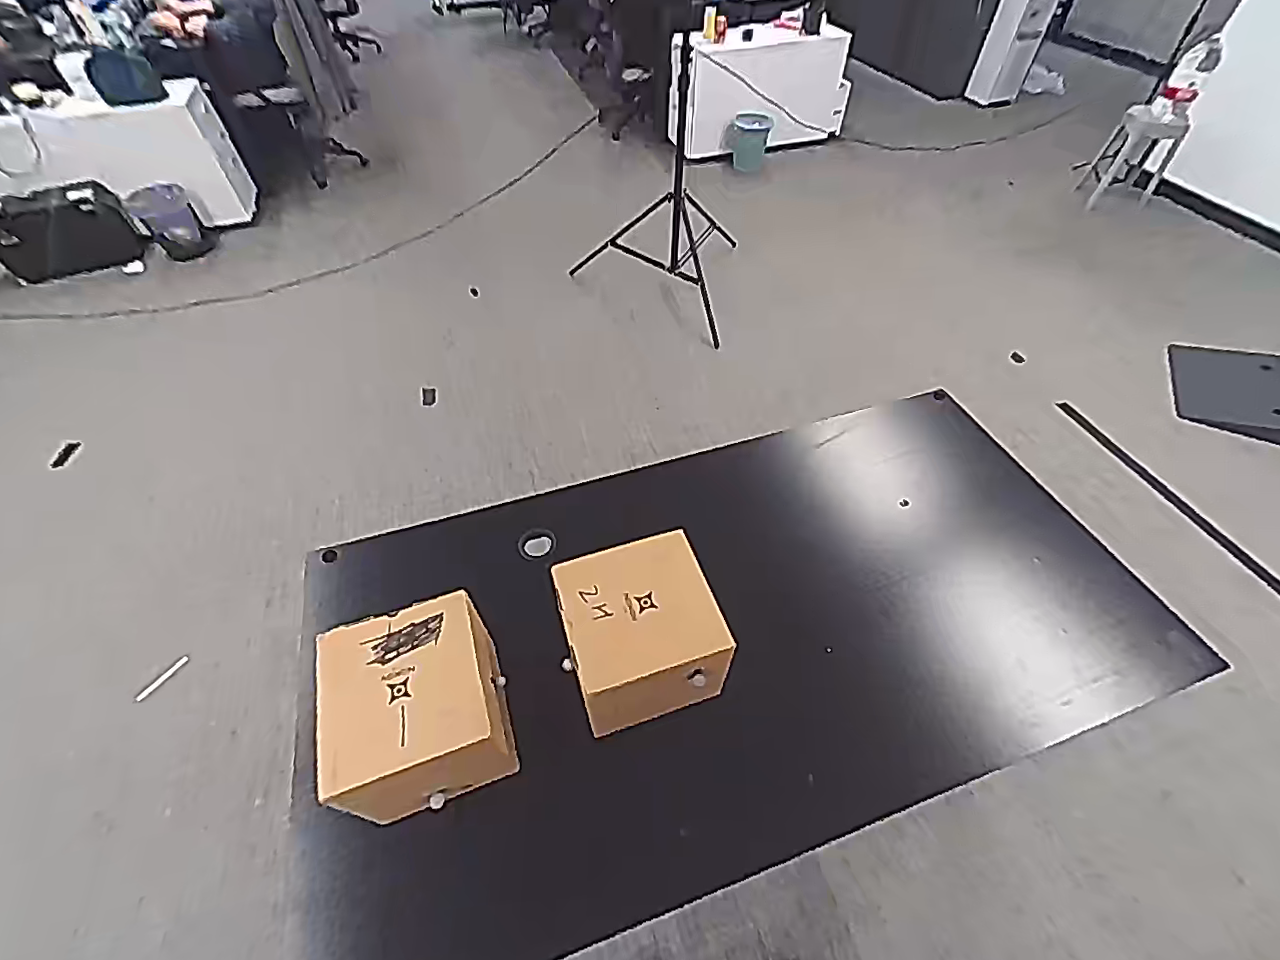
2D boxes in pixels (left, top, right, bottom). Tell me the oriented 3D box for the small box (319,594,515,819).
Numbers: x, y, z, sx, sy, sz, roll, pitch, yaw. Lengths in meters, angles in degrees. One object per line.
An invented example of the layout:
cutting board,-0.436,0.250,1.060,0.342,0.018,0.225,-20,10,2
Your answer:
small box,-0.257,0.269,0.642,0.168,0.176,0.179,-16,54,-12

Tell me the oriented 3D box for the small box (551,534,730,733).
small box,-0.005,0.200,0.696,0.179,0.176,0.168,-15,52,-11
